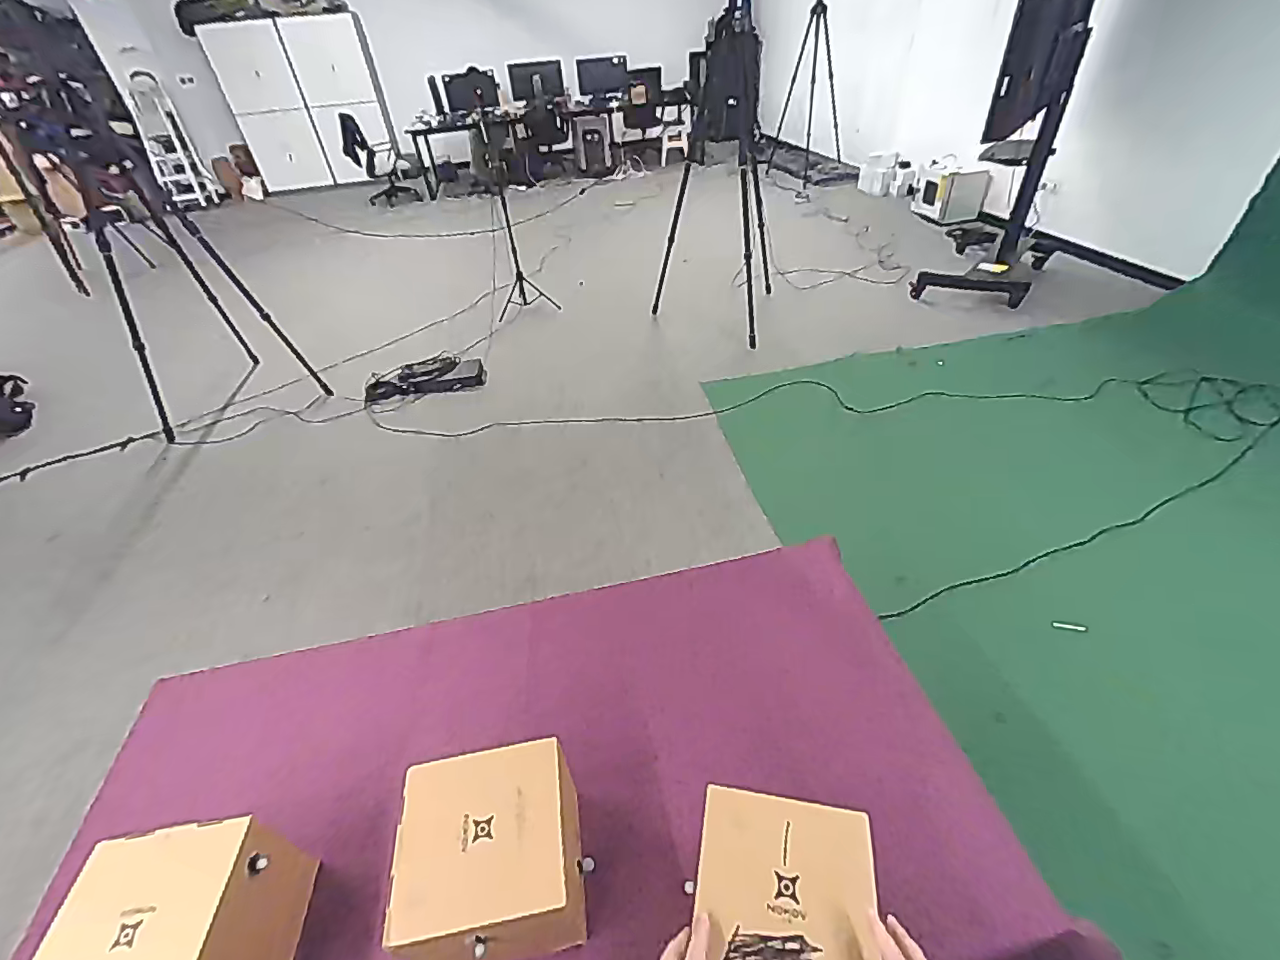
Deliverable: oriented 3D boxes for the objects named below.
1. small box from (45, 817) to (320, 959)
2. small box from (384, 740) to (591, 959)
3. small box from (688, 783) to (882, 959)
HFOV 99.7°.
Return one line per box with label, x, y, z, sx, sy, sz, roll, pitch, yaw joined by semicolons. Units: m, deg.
small box;-0.483;0.502;0.583;0.168;0.176;0.179;-9;39;-3
small box;-0.159;0.432;0.620;0.179;0.176;0.168;-9;40;-4
small box;0.143;0.449;0.553;0.168;0.176;0.179;4;40;12
